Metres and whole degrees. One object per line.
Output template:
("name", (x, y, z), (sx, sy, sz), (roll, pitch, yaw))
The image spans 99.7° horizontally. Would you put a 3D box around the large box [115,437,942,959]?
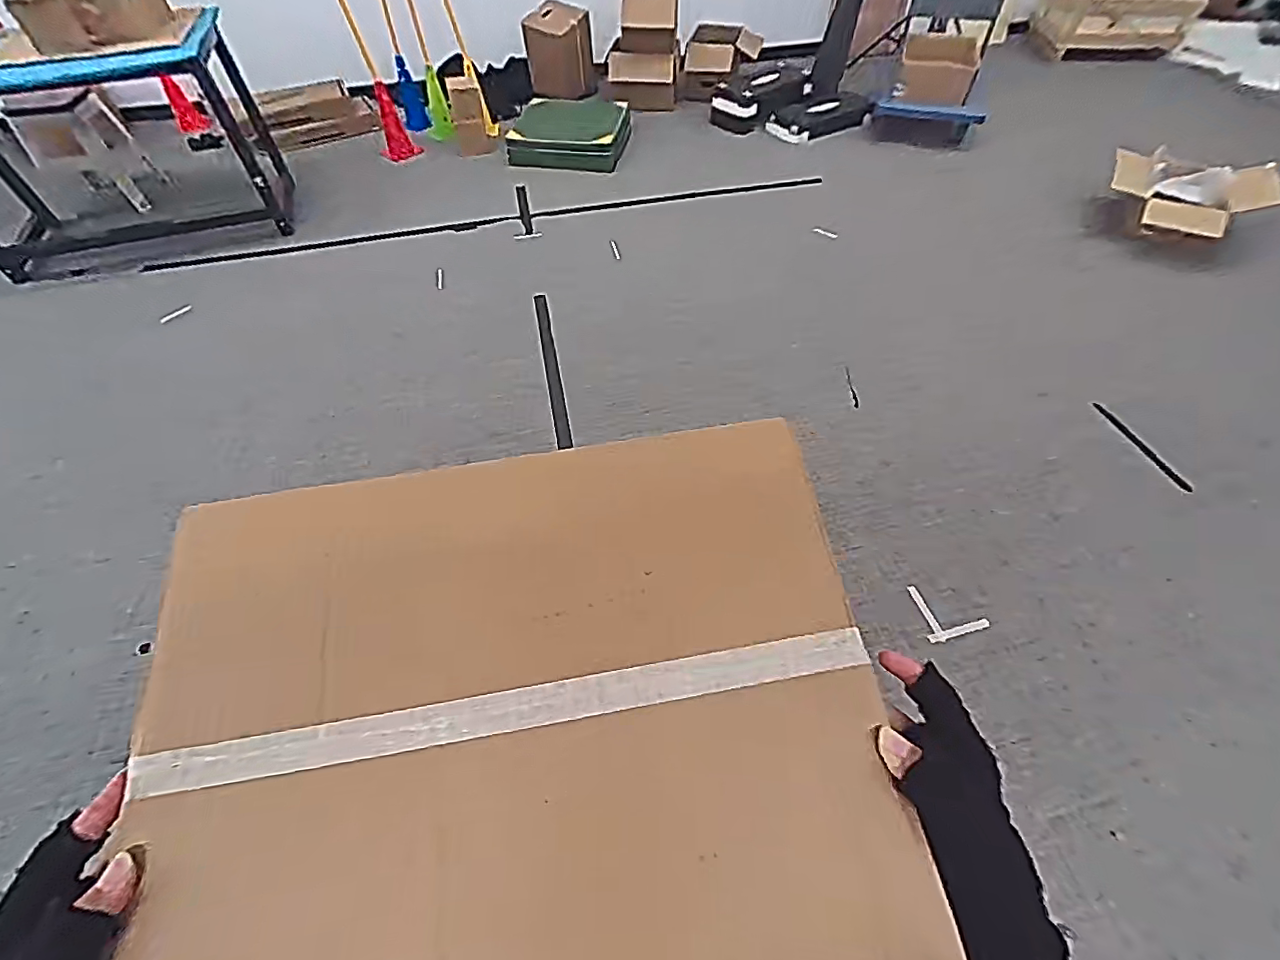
("large box", (-0.070, 0.199, 0.443), (0.408, 0.320, 0.320), (-9, 65, -3))
